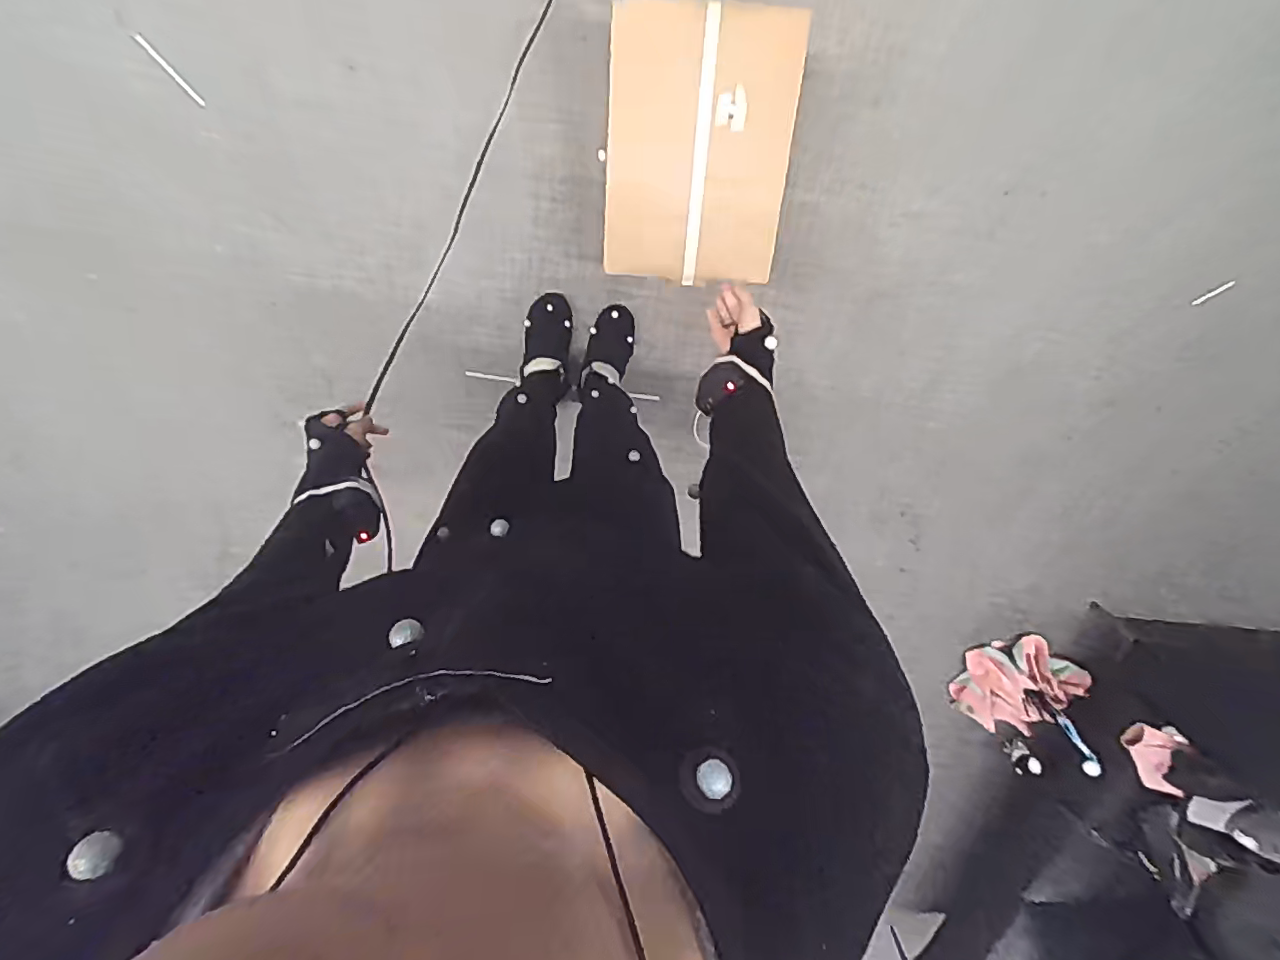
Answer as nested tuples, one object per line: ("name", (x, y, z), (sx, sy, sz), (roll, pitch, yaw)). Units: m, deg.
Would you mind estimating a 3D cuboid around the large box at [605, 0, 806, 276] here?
("large box", (0.095, -0.628, 1.057), (0.320, 0.320, 0.408), (2, 116, -5))
